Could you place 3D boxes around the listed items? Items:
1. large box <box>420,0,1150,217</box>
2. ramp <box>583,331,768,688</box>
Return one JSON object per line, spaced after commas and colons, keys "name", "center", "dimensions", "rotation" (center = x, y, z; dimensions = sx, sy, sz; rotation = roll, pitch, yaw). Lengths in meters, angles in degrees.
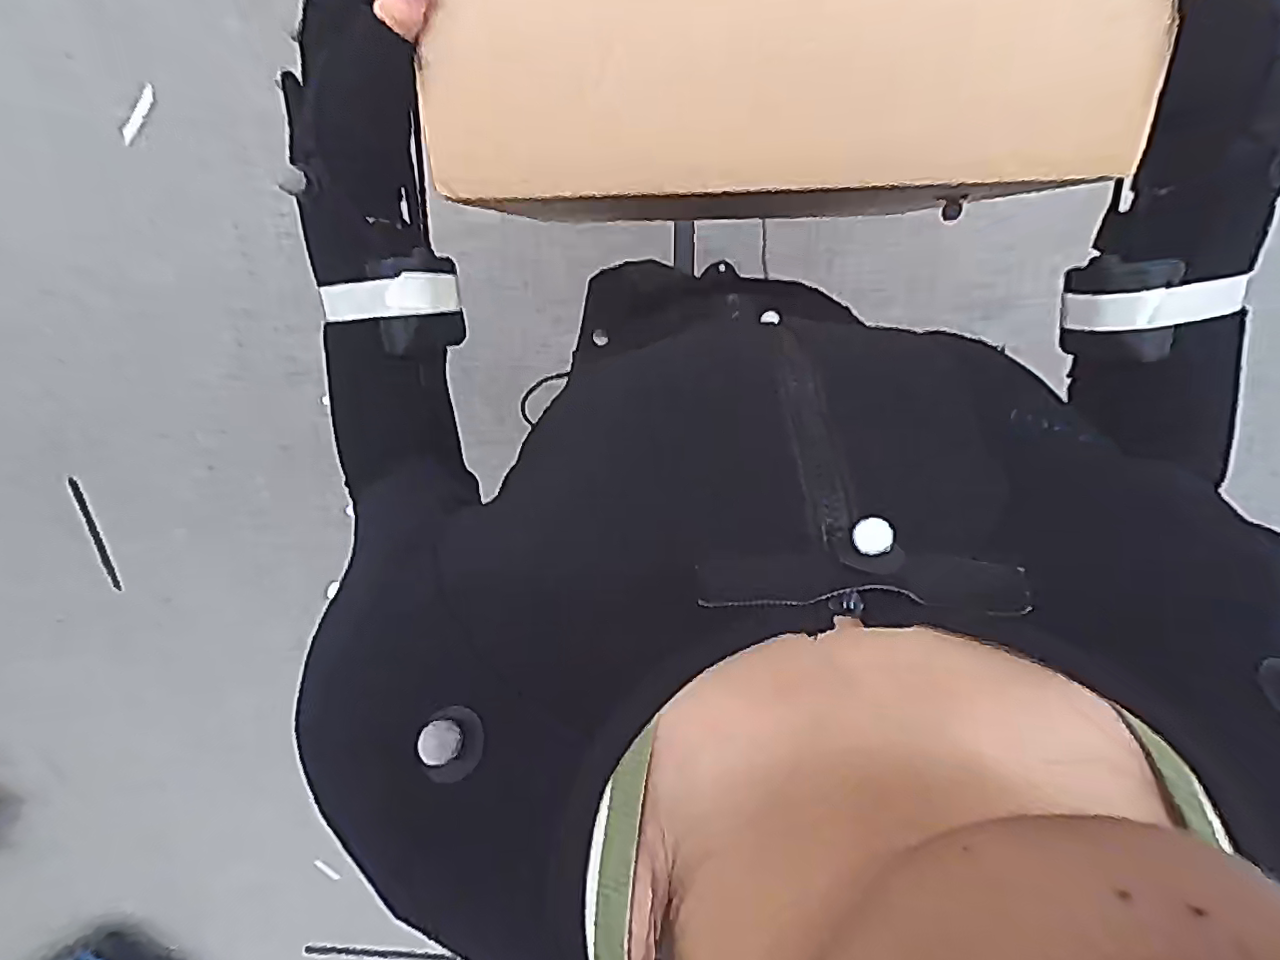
{"name": "large box", "center": [0.079, -0.379, 0.404], "dimensions": [0.408, 0.320, 0.320], "rotation": [-1, 113, 1]}
{"name": "ramp", "center": [0.094, 0.106, 1.490], "dimensions": [0.509, 0.206, 0.991], "rotation": [-1, 110, 4]}
